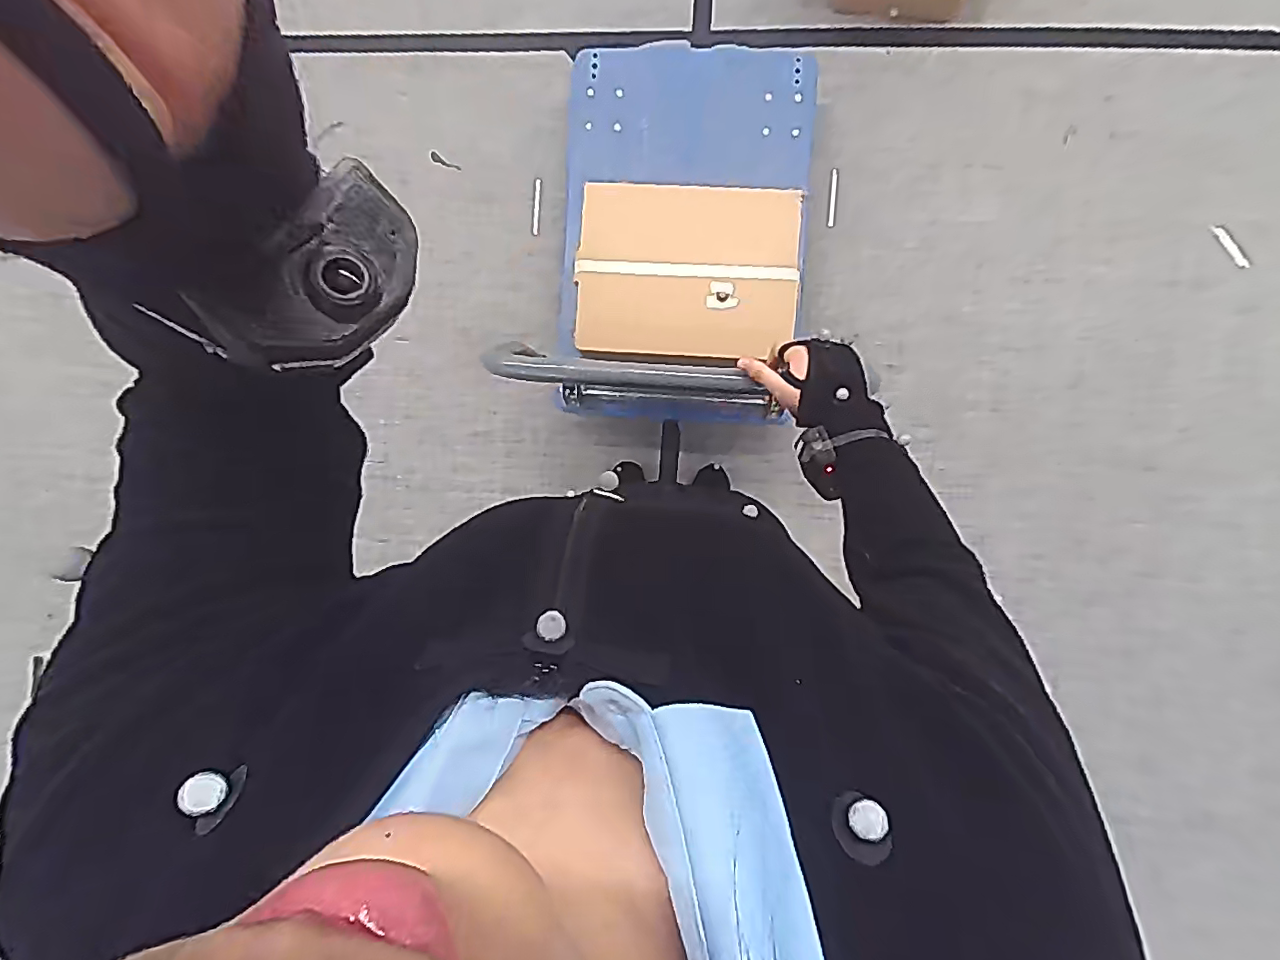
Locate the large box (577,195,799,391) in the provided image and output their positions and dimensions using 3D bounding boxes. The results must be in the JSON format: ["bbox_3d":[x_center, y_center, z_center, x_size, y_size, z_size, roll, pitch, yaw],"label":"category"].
[{"bbox_3d":[0.090,-0.370,1.150,0.408,0.320,0.320,4,92,2],"label":"large box"}]
